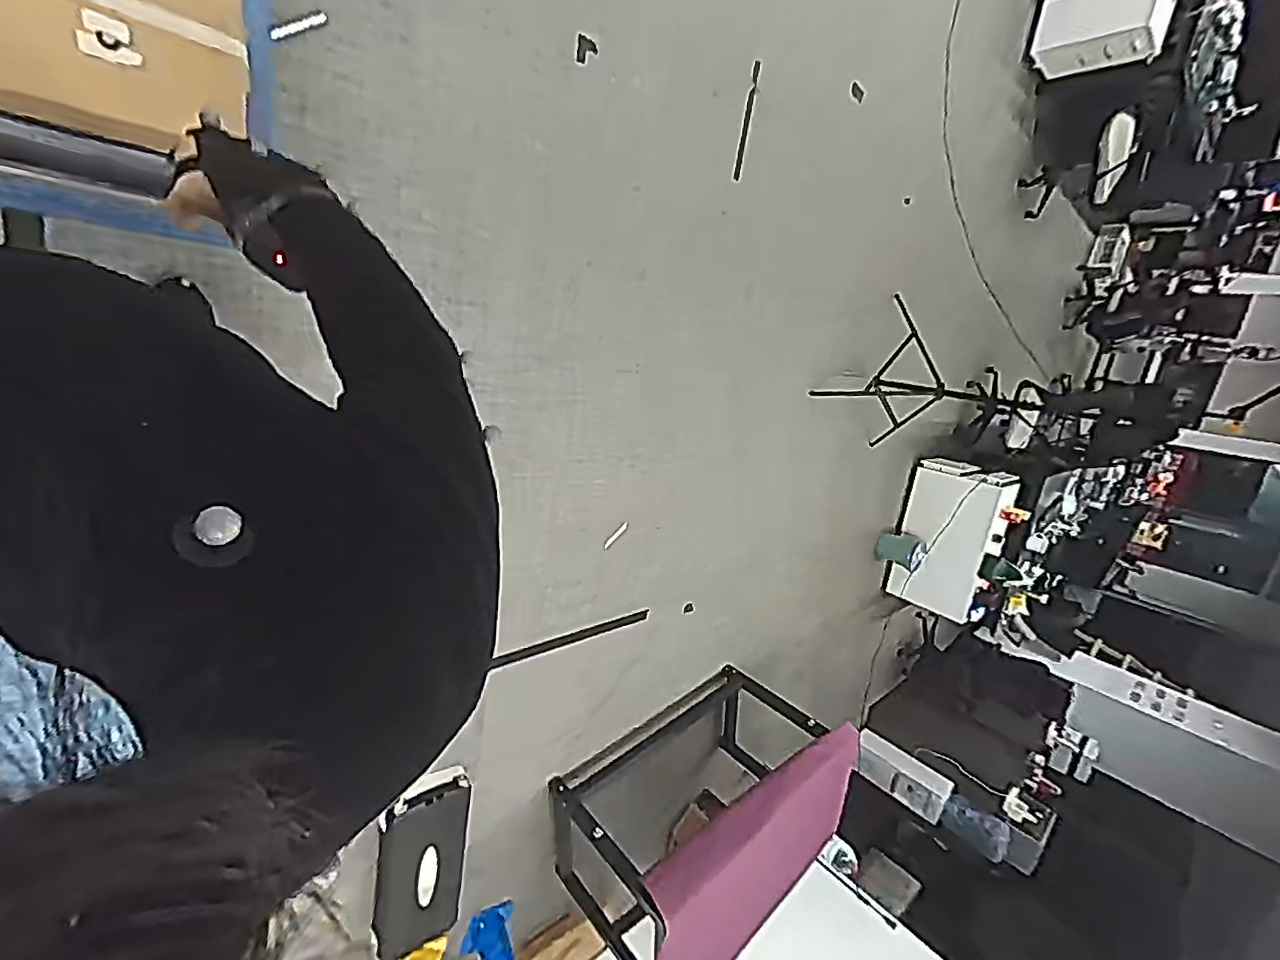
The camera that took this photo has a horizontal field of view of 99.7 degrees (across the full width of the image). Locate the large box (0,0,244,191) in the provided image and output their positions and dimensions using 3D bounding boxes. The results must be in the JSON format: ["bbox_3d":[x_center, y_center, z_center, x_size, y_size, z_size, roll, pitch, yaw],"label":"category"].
[{"bbox_3d":[-0.805,-0.622,0.721,0.408,0.320,0.320,-5,109,-43],"label":"large box"}]
